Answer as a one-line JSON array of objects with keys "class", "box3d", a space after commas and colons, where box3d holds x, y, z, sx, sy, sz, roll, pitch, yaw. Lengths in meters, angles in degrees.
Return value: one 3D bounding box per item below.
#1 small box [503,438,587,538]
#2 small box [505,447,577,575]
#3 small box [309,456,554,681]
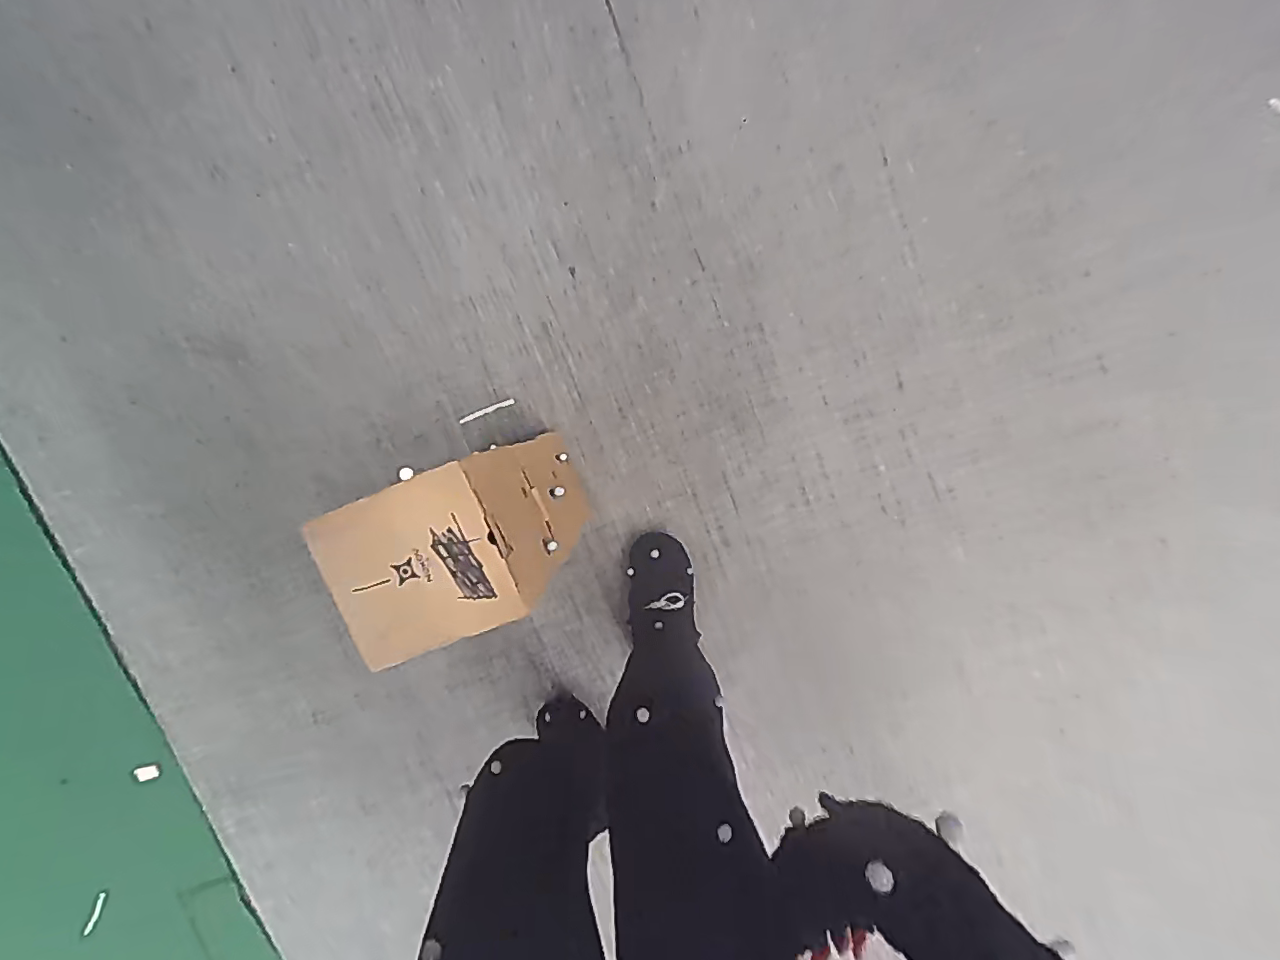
[{"class": "small box", "box3d": [-0.200, 0.035, 0.927, 0.179, 0.176, 0.168, -22, 96, 7]}, {"class": "small box", "box3d": [-0.199, 0.060, 0.766, 0.179, 0.176, 0.168, -22, 97, 5]}, {"class": "small box", "box3d": [-0.208, 0.083, 0.603, 0.179, 0.176, 0.168, -25, 97, 4]}]
